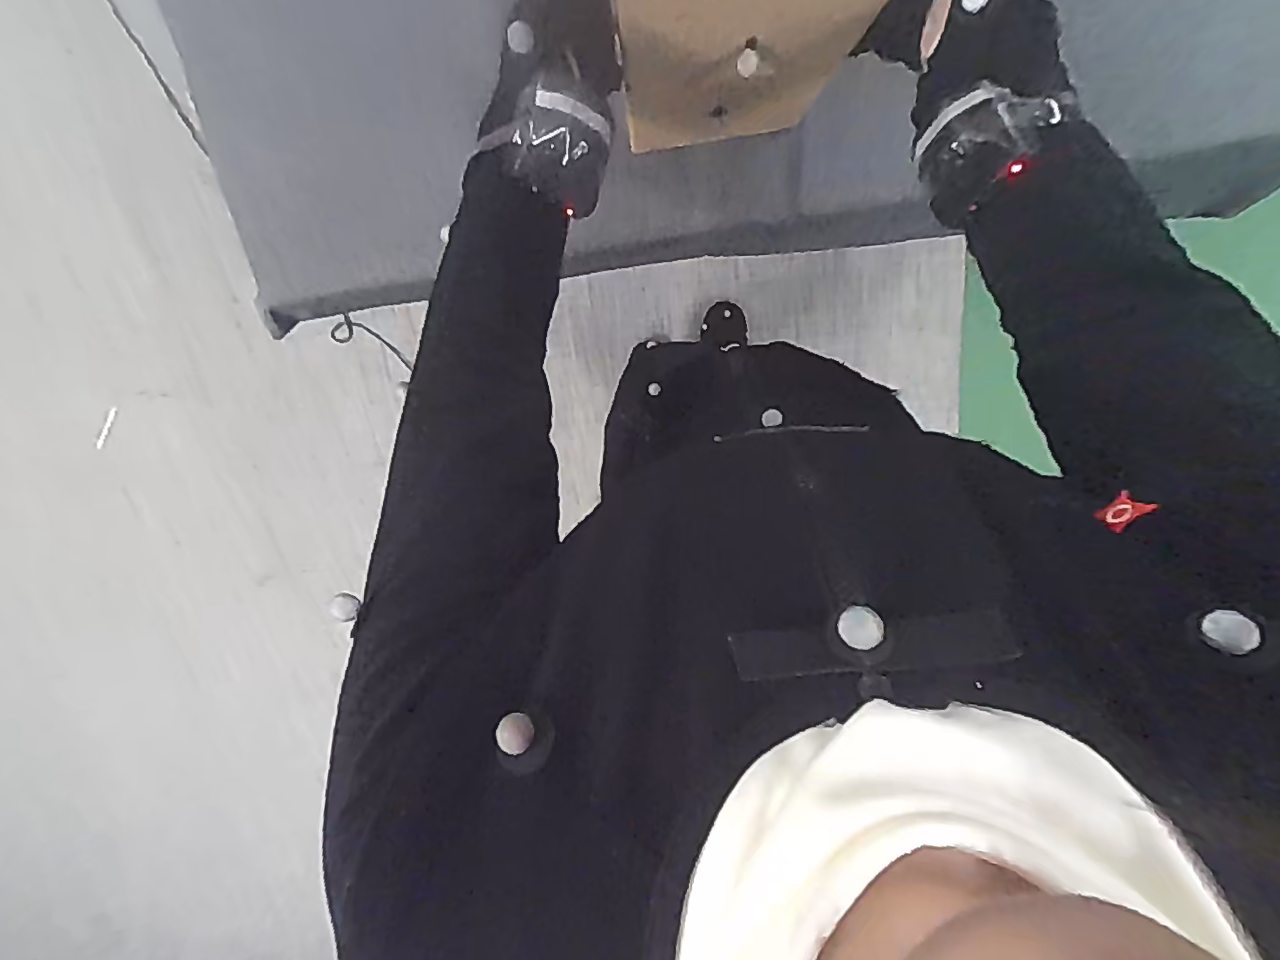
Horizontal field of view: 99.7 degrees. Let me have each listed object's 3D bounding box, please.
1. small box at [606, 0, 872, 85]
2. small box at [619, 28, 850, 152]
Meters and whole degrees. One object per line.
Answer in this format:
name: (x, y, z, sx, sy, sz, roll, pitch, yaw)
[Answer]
small box: (0.059, -0.370, 0.319, 0.179, 0.176, 0.168, -7, 105, 3)
small box: (0.064, -0.416, 0.478, 0.179, 0.176, 0.168, -11, 107, 3)
